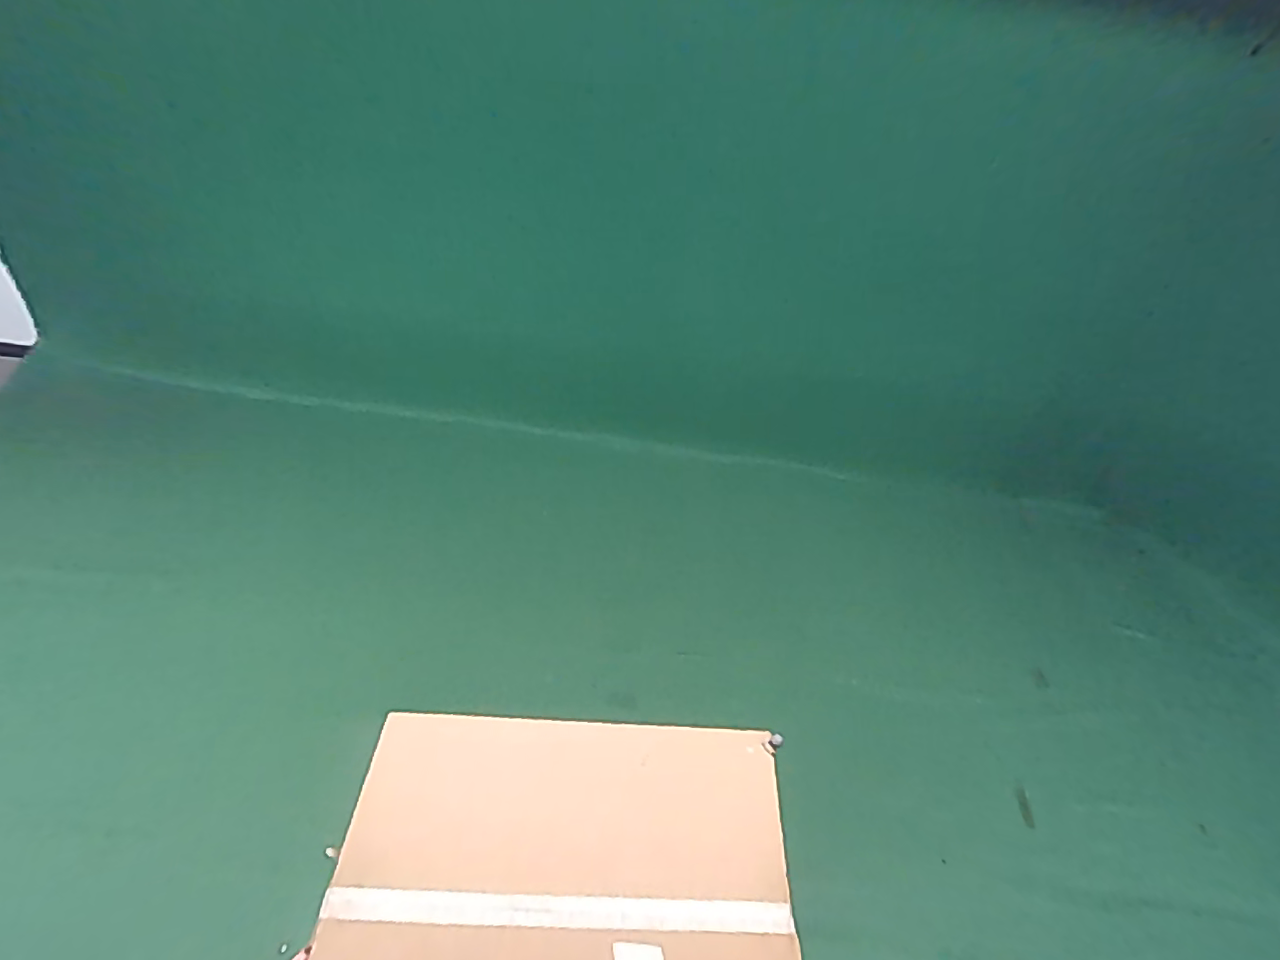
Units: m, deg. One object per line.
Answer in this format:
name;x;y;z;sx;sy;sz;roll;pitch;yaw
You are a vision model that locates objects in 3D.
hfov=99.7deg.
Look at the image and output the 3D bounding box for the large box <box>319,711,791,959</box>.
large box;-0.079;0.471;0.594;0.408;0.320;0.320;4;49;-2
